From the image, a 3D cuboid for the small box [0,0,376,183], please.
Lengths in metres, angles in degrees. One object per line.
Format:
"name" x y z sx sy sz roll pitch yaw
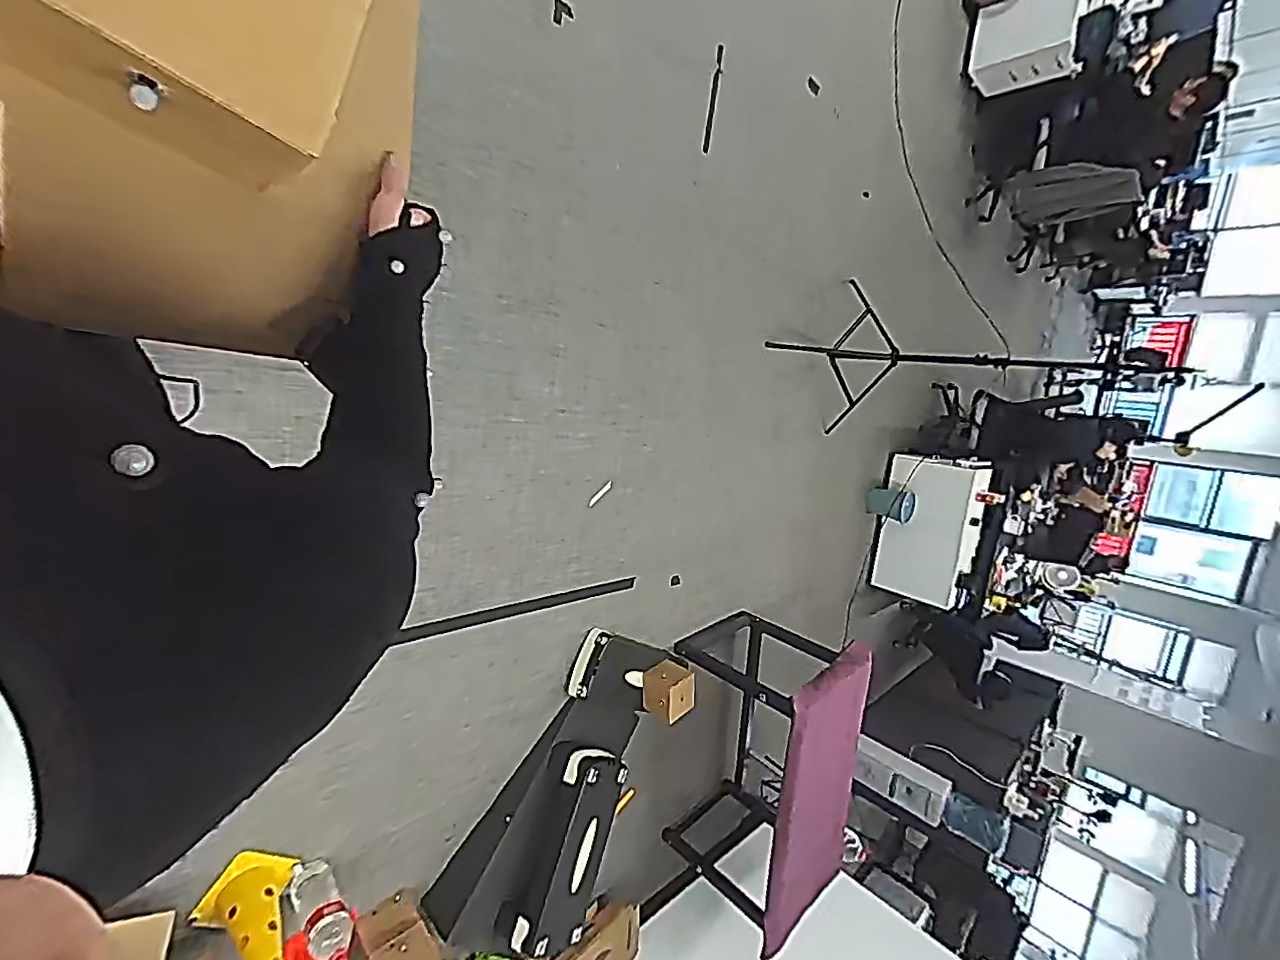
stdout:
"small box" -0.329 -0.351 0.403 0.179 0.176 0.168 18 89 -46
